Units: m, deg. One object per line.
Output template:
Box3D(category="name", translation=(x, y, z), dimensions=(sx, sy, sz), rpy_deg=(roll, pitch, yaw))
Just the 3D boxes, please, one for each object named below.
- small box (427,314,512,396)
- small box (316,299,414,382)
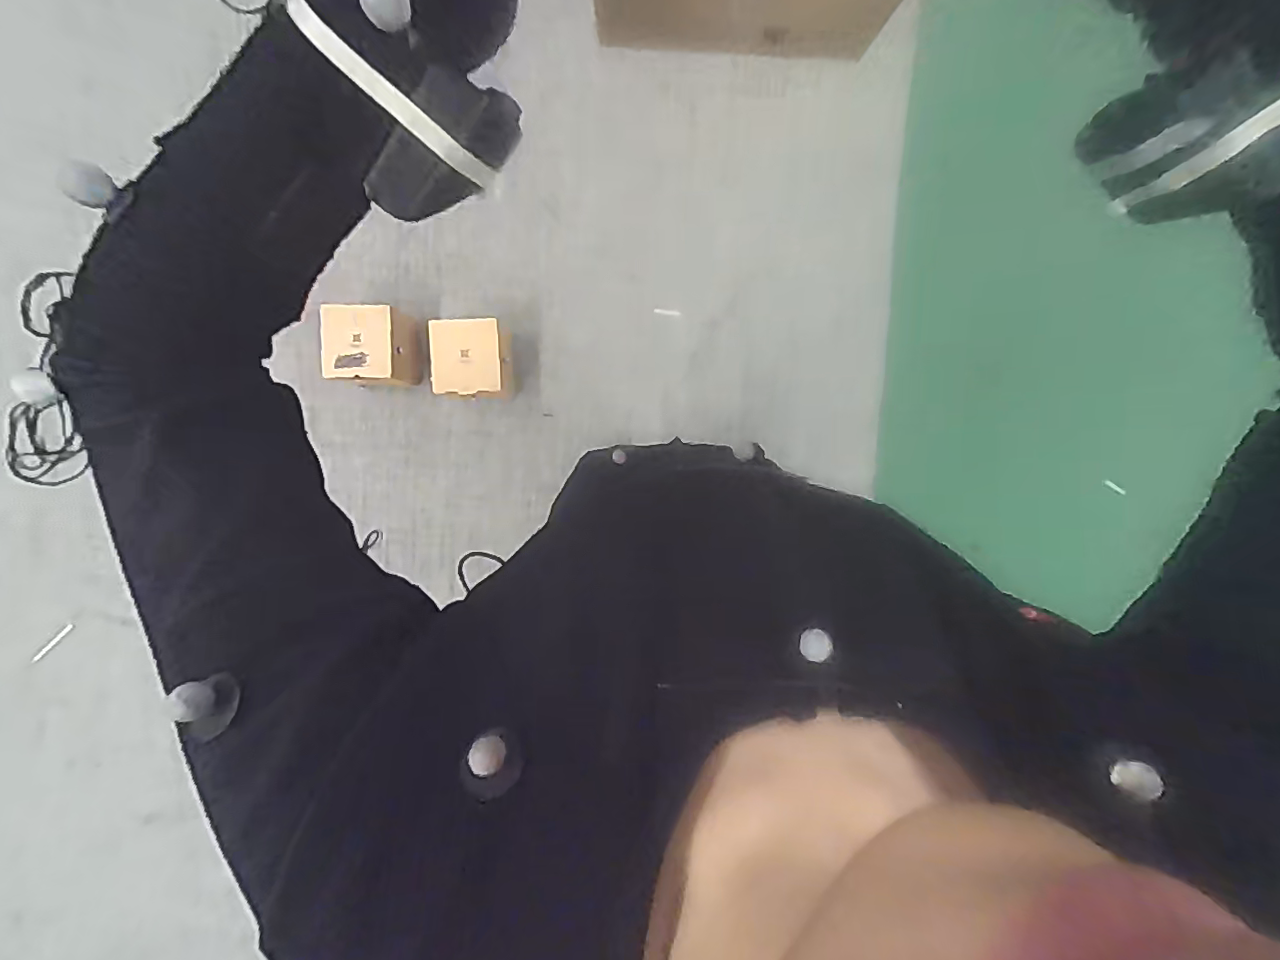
Box3D(category="small box", translation=(-0.422, -0.309, 1.359), dimensions=(0.168, 0.176, 0.179), rpy_deg=(-3, 95, -2))
Box3D(category="small box", translation=(-0.675, -0.339, 1.345), dimensions=(0.168, 0.176, 0.179), rpy_deg=(0, 93, -2))
